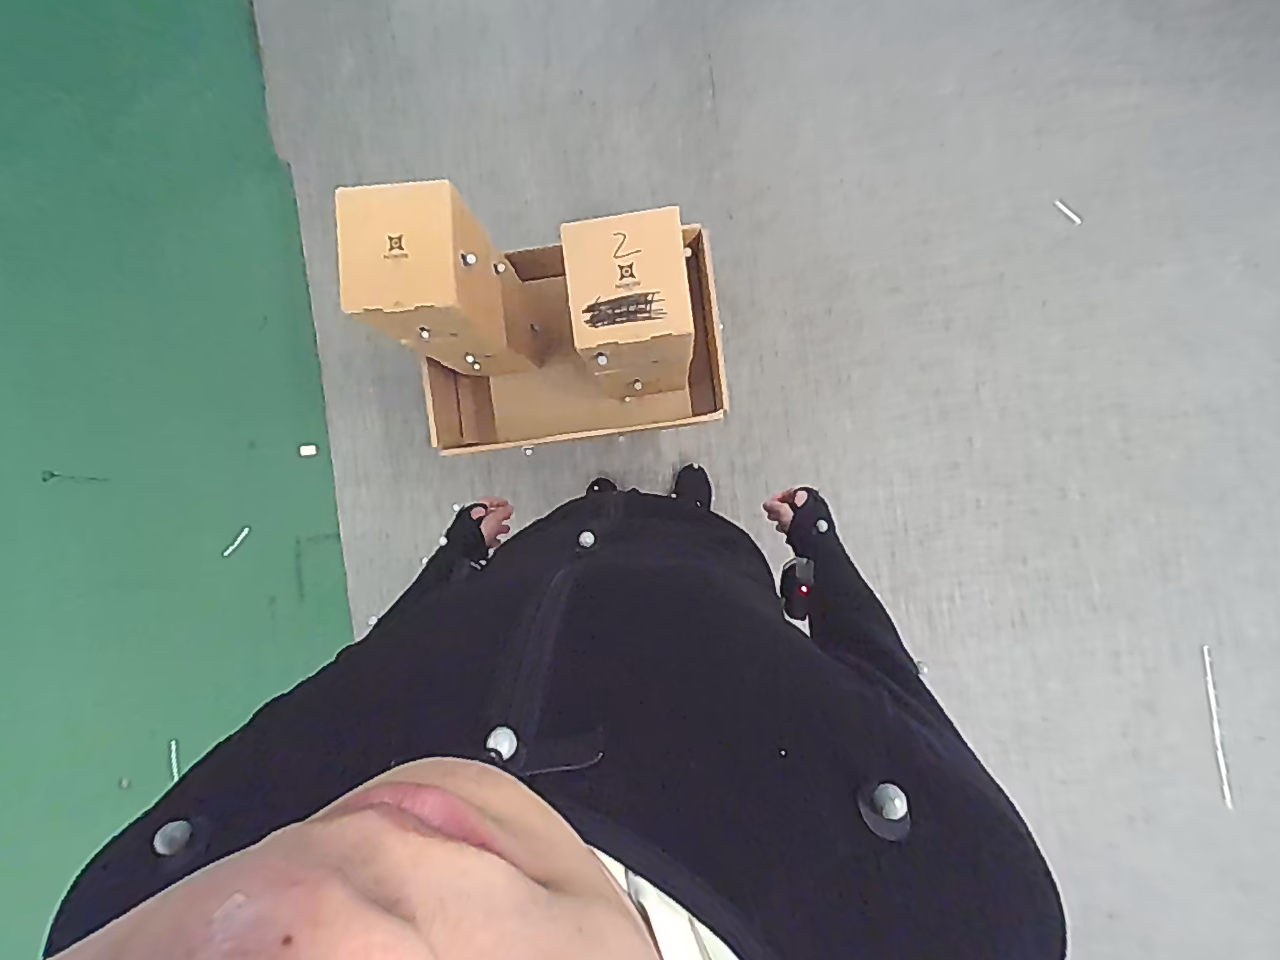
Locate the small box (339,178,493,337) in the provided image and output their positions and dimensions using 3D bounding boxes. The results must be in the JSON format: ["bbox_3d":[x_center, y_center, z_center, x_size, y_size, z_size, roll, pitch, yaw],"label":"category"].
[{"bbox_3d":[-0.332,-0.329,0.827,0.168,0.176,0.179,-2,91,2],"label":"small box"}]

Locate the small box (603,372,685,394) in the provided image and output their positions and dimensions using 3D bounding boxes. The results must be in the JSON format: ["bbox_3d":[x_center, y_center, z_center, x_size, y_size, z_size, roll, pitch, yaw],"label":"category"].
[{"bbox_3d":[0.003,-0.281,1.137,0.168,0.176,0.179,-8,90,2],"label":"small box"}]

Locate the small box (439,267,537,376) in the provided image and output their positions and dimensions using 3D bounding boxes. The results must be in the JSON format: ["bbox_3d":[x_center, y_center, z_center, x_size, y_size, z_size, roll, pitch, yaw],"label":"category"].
[{"bbox_3d":[-0.322,-0.330,1.152,0.168,0.176,0.179,-5,90,2],"label":"small box"}]

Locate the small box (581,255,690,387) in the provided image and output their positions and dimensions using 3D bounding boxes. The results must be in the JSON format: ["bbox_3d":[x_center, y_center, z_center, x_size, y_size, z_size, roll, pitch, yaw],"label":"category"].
[{"bbox_3d":[-0.005,-0.277,0.975,0.168,0.176,0.179,-8,91,3],"label":"small box"}]

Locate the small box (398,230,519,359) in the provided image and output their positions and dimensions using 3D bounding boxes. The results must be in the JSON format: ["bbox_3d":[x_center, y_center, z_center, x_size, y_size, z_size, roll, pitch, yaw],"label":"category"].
[{"bbox_3d":[-0.327,-0.330,0.988,0.168,0.176,0.179,-3,91,3],"label":"small box"}]
